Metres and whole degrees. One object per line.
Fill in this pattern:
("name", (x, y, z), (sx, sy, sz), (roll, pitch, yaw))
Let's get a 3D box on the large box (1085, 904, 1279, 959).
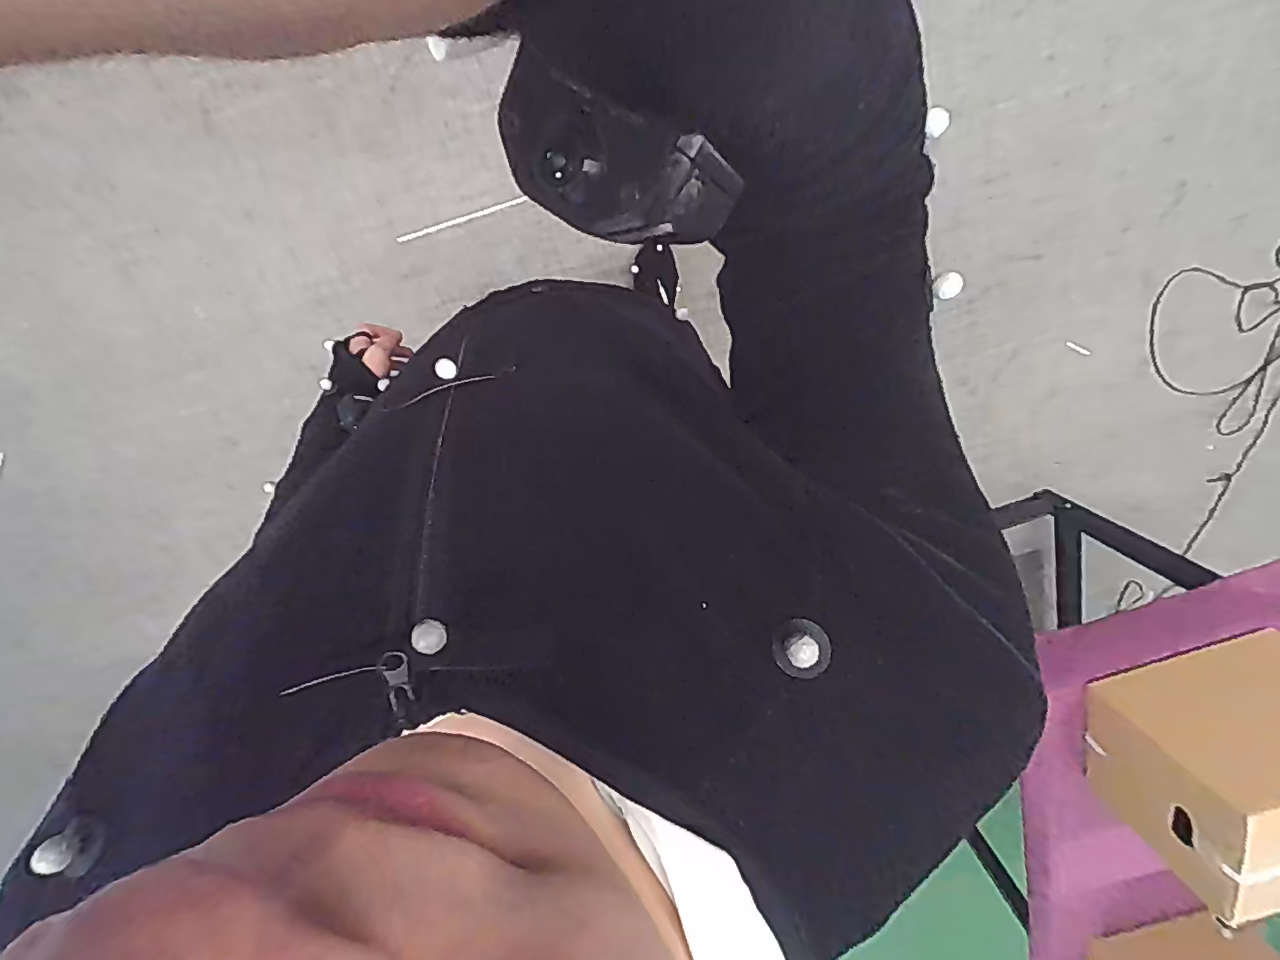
("large box", (1.493, 1.415, 1.421), (0.408, 0.320, 0.320), (-17, 110, 2))
